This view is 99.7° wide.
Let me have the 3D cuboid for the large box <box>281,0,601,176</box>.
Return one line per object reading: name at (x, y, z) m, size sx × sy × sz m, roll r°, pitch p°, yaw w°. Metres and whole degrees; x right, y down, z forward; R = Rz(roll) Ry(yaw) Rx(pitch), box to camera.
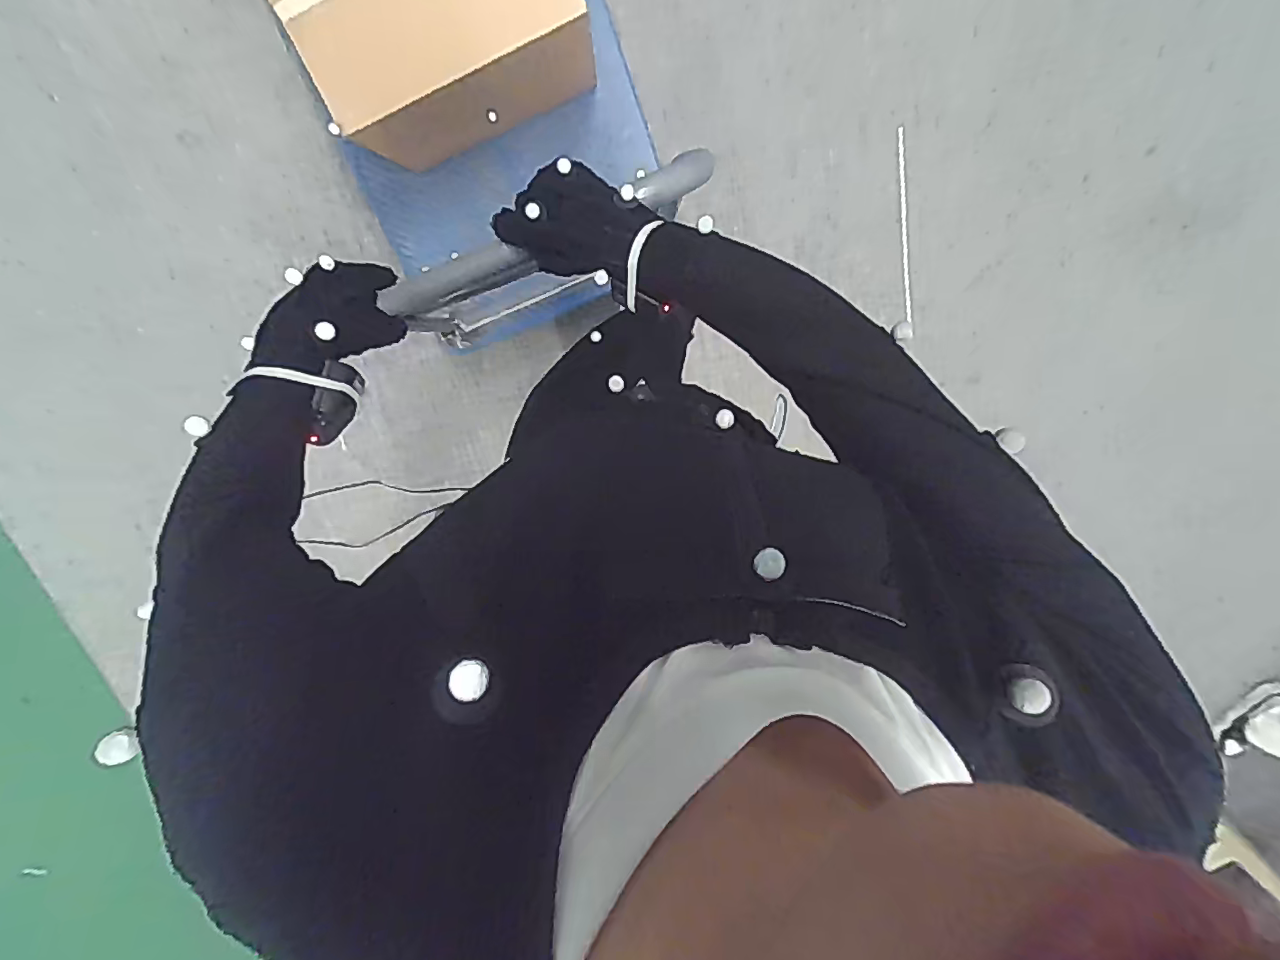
large box at (-0.310, -0.765, 0.888) m, size 0.408 × 0.320 × 0.320 m, roll -22°, pitch 109°, yaw 6°
